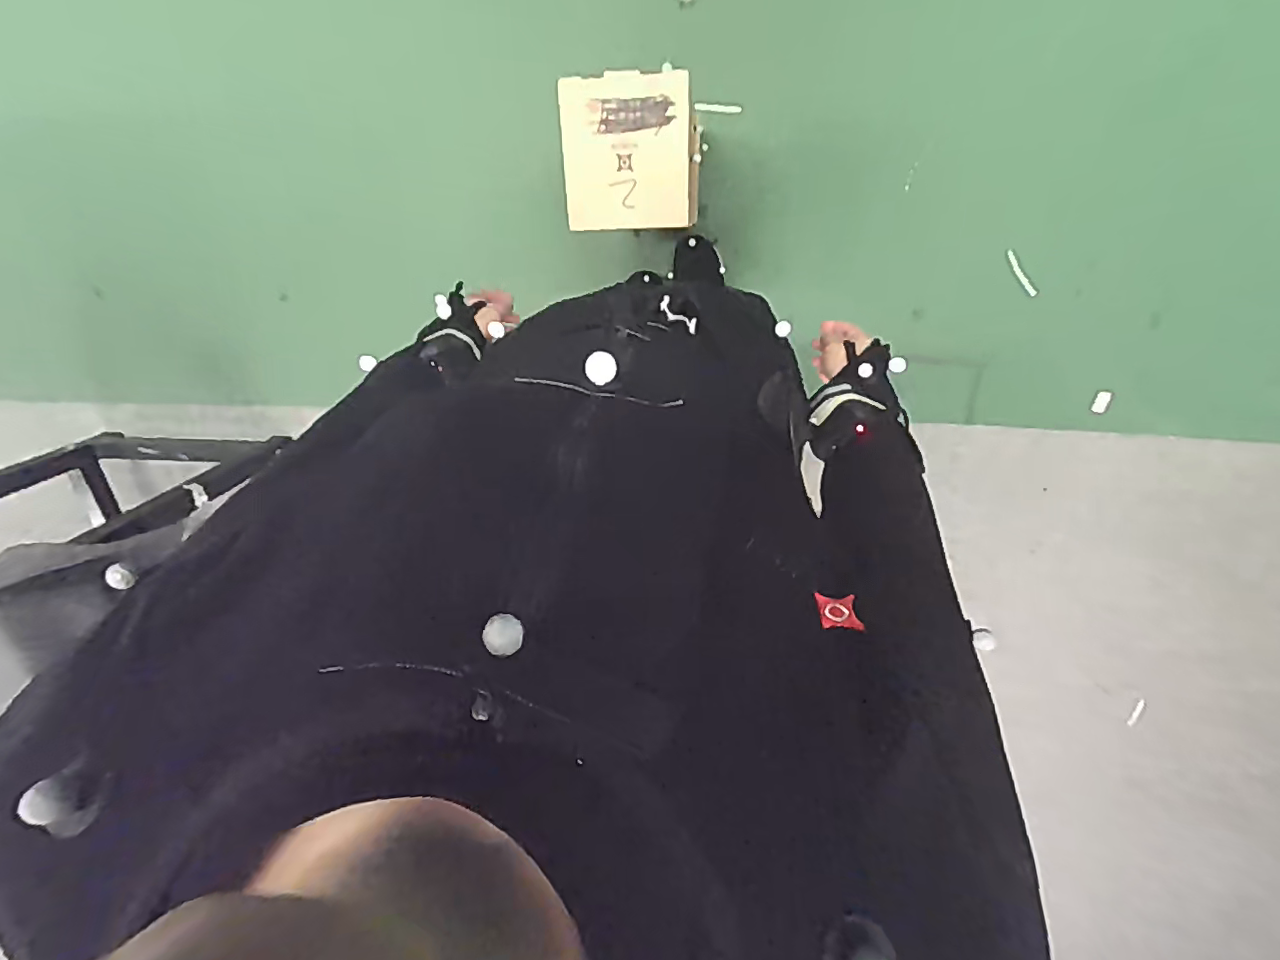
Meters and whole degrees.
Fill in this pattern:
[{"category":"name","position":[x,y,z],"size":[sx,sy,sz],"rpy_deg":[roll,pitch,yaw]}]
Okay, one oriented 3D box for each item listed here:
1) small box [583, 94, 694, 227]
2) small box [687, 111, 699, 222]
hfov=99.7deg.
[{"category":"small box","position":[0.005,-0.528,0.915],"size":[0.168,0.176,0.179],"rpy_deg":[1,115,6]},{"category":"small box","position":[0.030,-0.602,1.057],"size":[0.168,0.176,0.179],"rpy_deg":[2,117,6]}]
